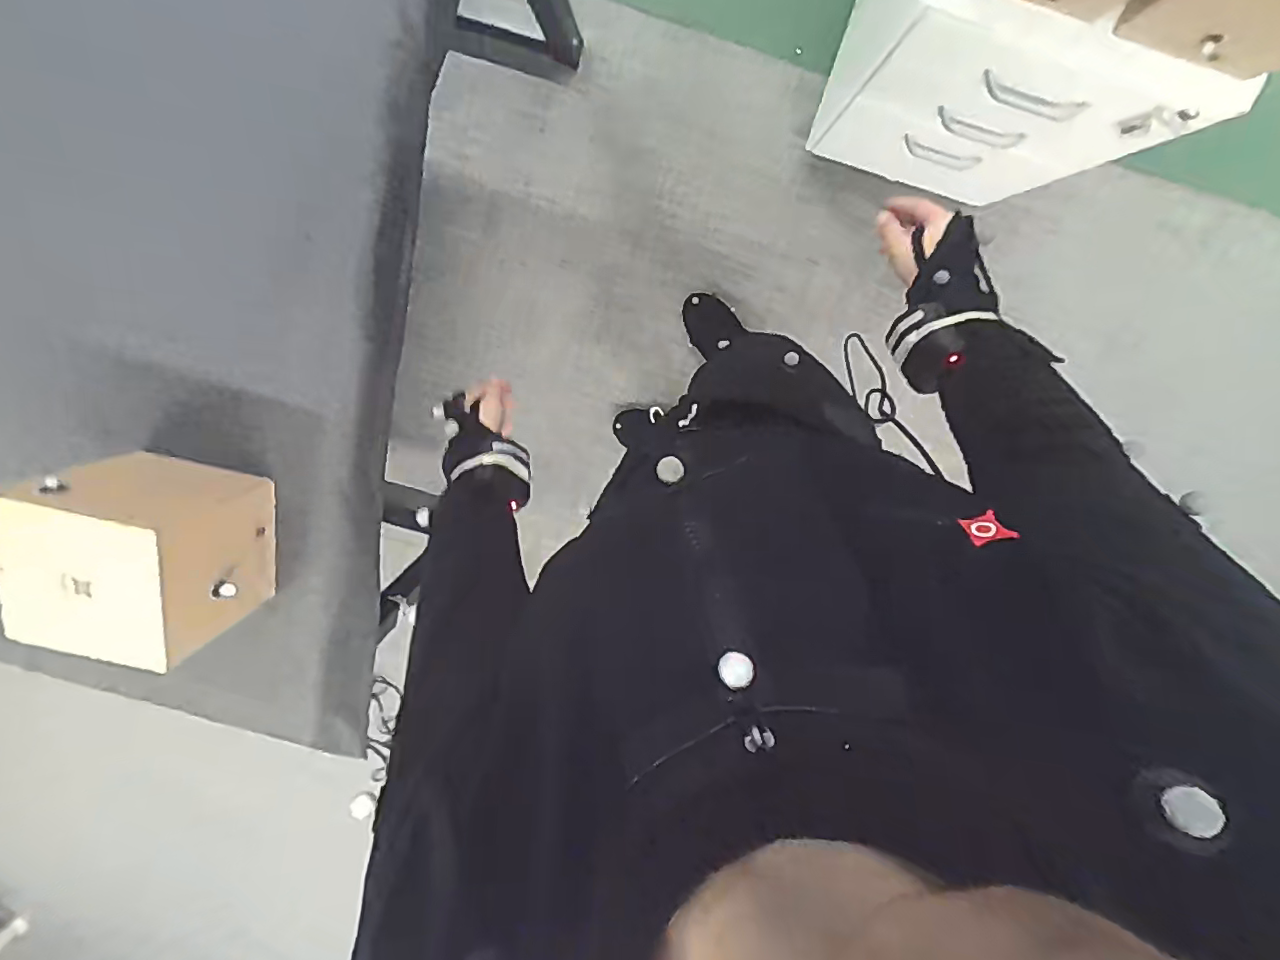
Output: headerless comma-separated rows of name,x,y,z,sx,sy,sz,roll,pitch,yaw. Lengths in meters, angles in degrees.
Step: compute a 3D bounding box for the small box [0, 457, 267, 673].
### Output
small box,-0.554,0.082,0.606,0.179,0.176,0.168,12,107,0
